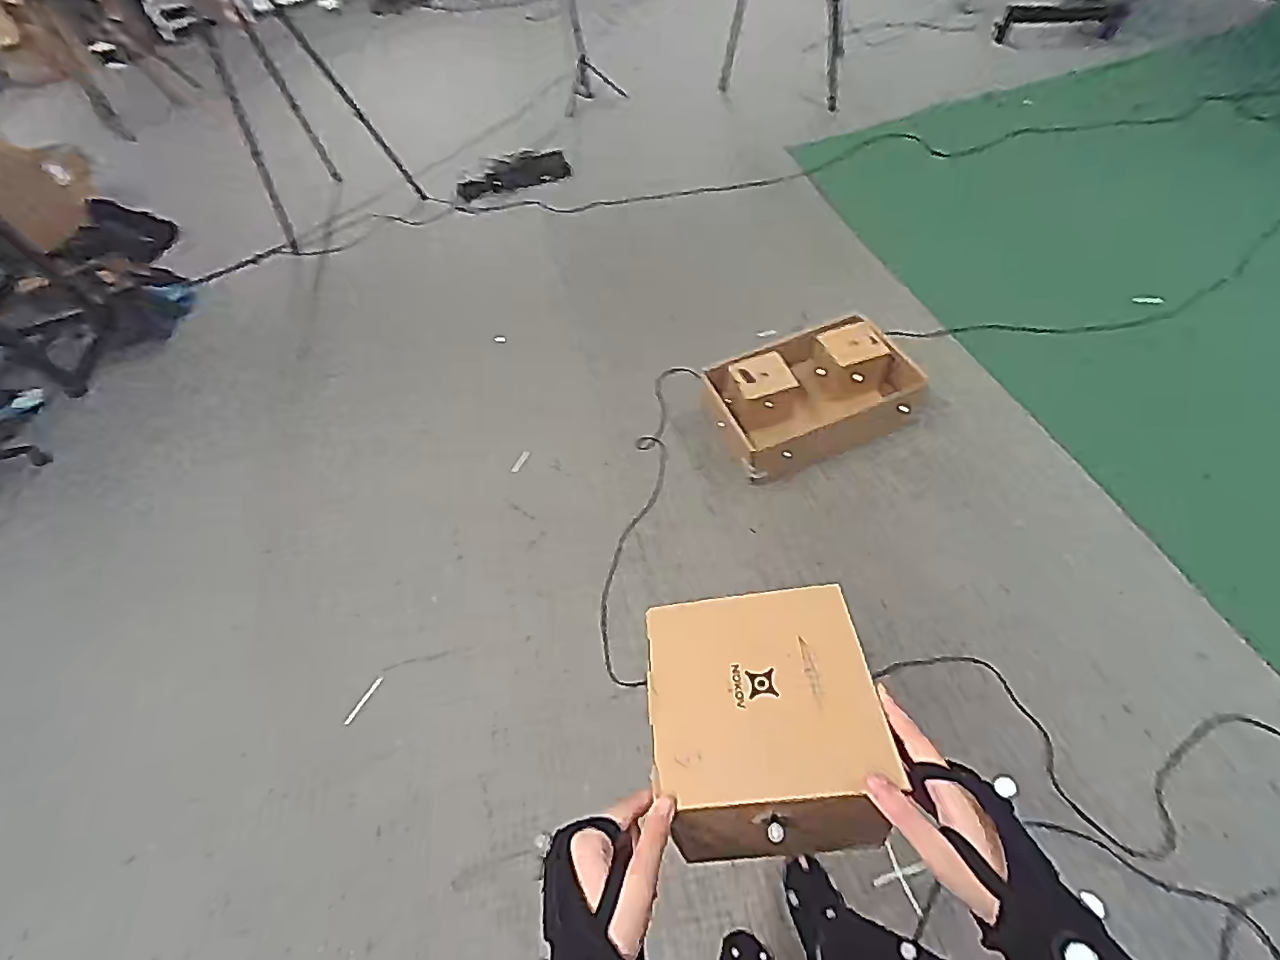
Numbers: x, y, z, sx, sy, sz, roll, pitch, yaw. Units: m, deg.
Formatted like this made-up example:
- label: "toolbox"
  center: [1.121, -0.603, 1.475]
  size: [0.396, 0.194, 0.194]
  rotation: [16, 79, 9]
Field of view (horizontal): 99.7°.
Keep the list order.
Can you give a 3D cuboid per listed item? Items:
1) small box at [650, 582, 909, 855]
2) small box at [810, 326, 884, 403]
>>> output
- label: "small box"
  center: [0.110, 0.213, 0.476]
  size: [0.179, 0.176, 0.168]
  rotation: [-8, 43, 7]
- label: "small box"
  center: [0.690, -0.386, 1.833]
  size: [0.179, 0.176, 0.168]
  rotation: [-18, 55, -3]
